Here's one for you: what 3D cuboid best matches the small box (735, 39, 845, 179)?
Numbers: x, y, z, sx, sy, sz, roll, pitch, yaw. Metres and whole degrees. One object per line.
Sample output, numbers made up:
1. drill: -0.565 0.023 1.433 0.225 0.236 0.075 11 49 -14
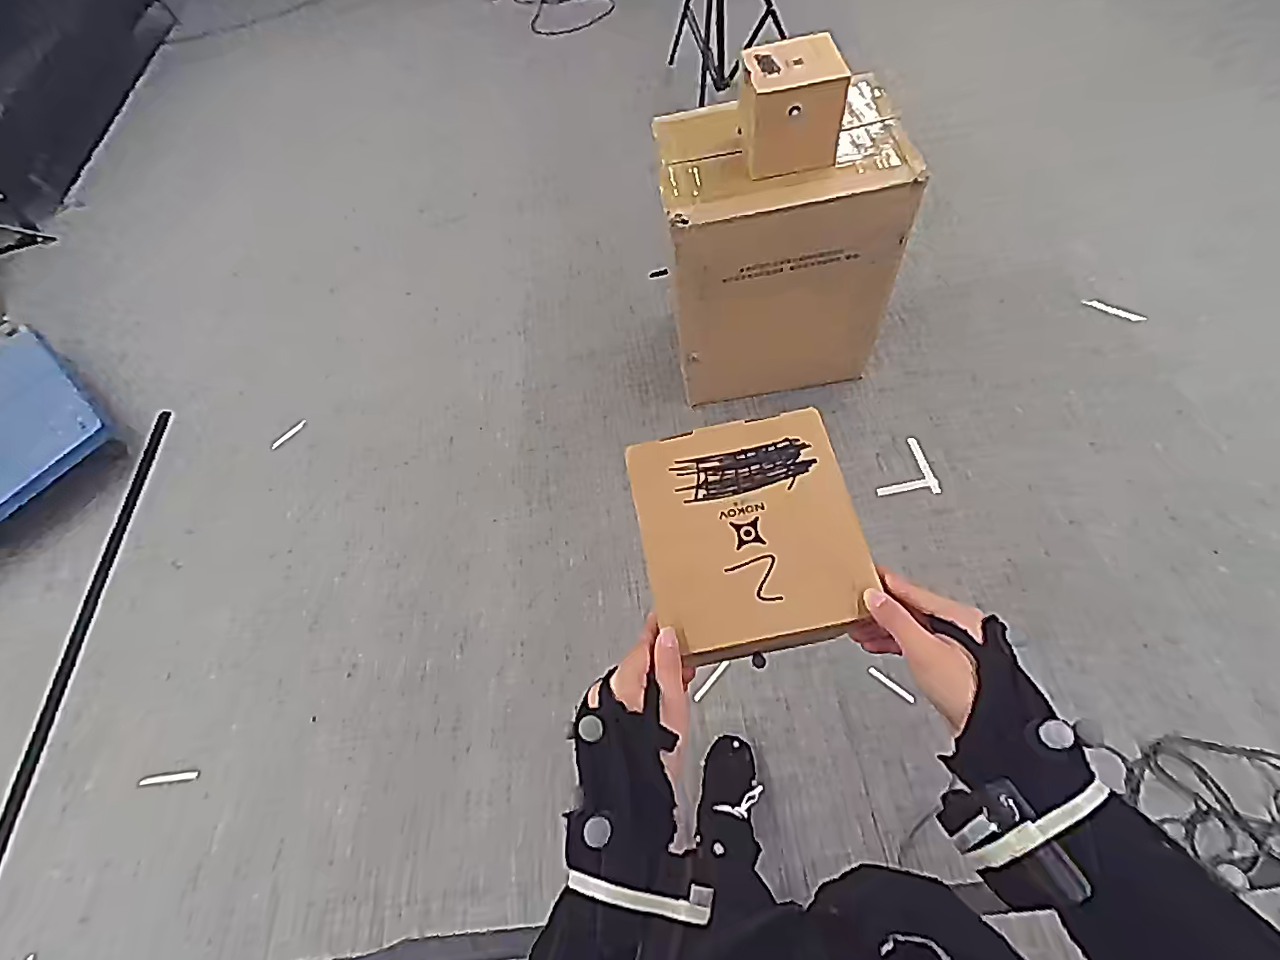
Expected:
1. small box: 0.294 -0.741 1.094 0.179 0.176 0.168 -9 61 4
